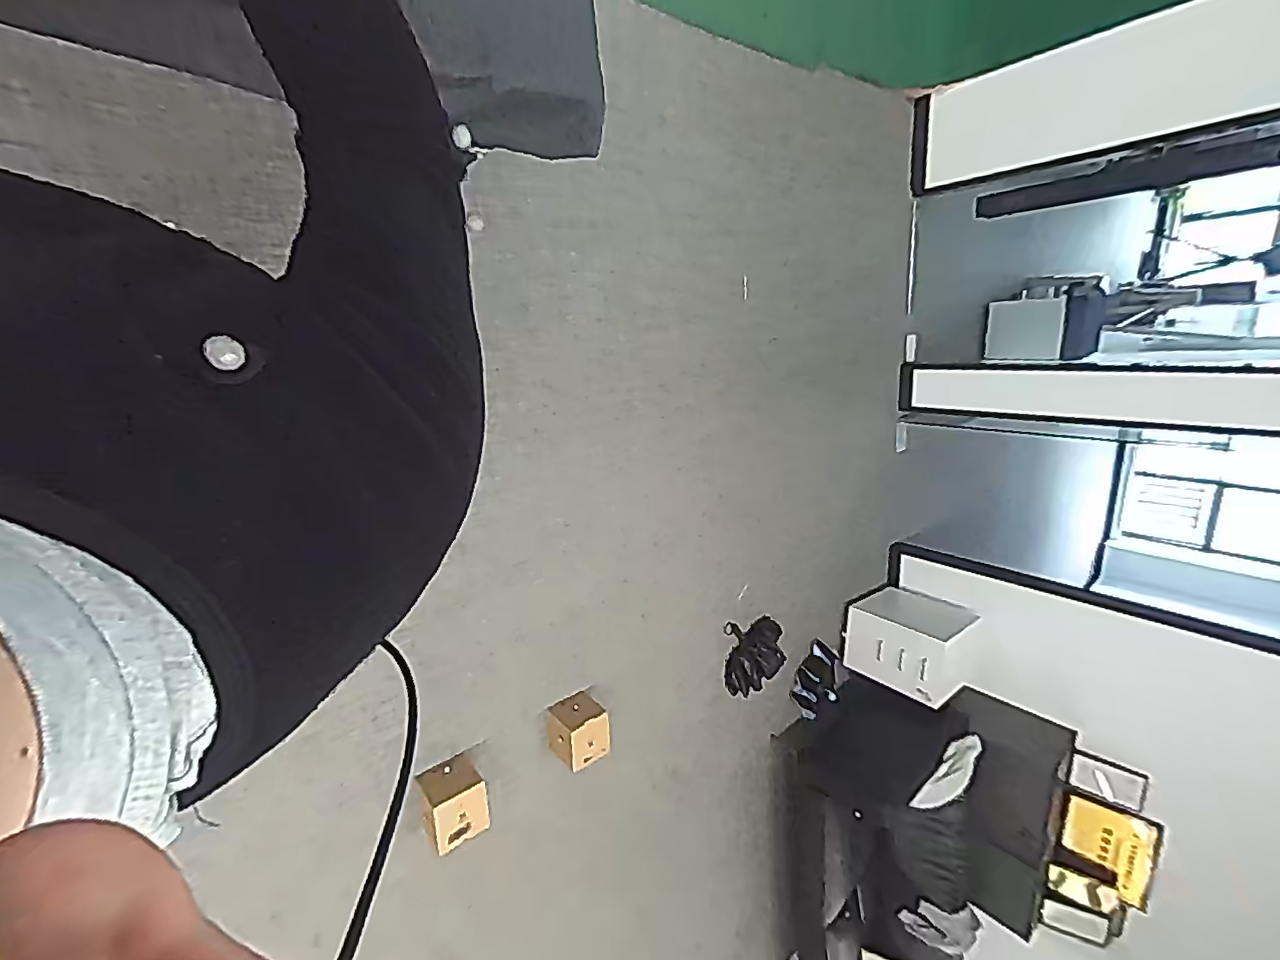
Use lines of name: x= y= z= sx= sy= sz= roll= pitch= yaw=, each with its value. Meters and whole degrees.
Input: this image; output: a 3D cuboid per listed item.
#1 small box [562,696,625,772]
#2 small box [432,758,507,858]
small box: x=-0.176 y=0.927 z=2.002 sx=0.168 sy=0.176 sz=0.179 roll=-14 pitch=107 yaw=-38
small box: x=-0.541 y=1.028 z=1.712 sx=0.168 sy=0.176 sz=0.179 roll=-14 pitch=106 yaw=-39
